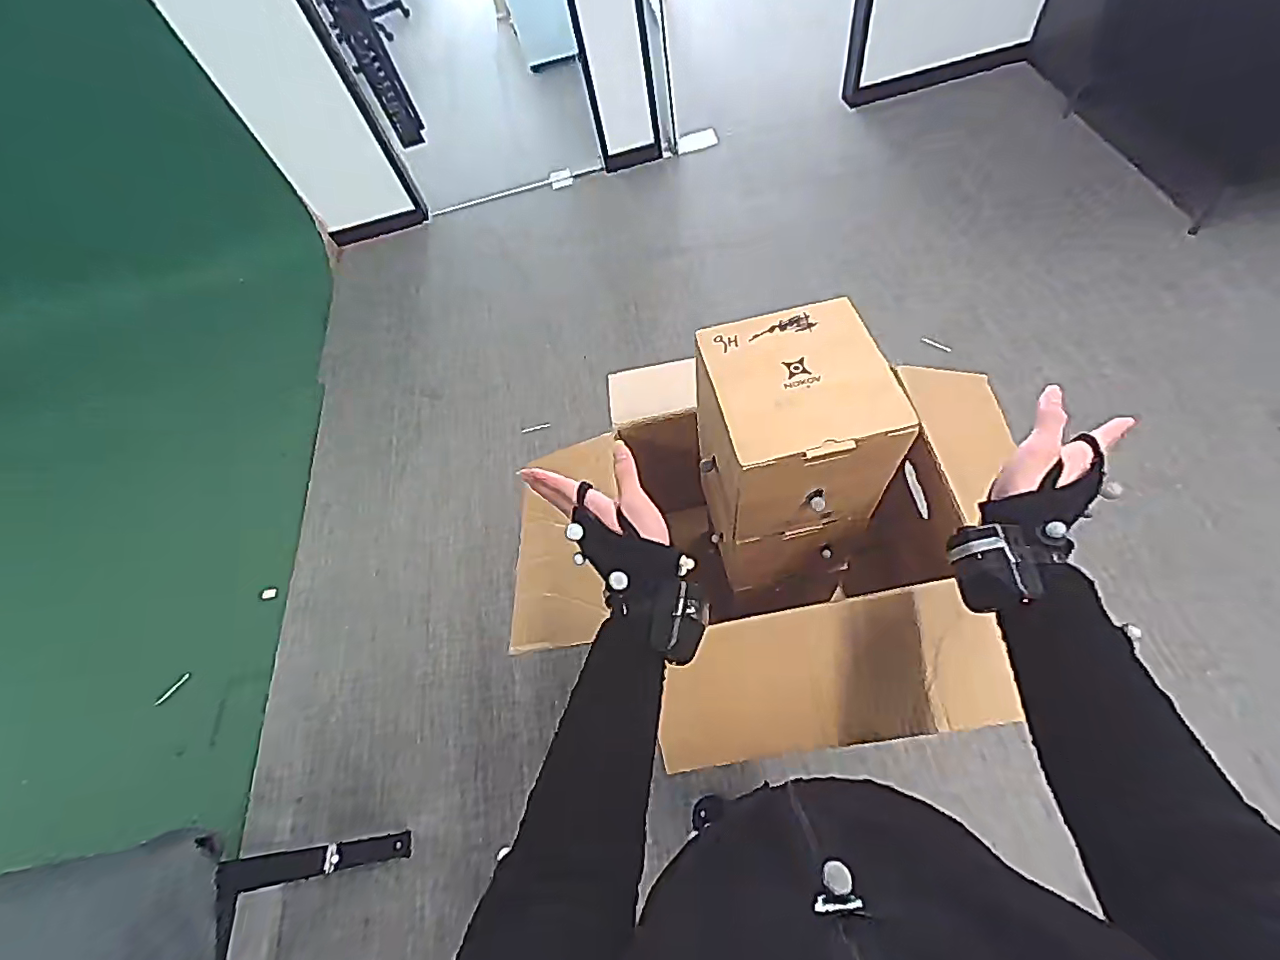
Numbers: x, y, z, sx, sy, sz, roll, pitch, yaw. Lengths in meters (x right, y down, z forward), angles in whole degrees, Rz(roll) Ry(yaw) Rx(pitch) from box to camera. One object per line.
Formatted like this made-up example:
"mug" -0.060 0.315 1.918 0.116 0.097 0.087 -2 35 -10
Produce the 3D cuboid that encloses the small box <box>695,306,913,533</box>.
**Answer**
"small box" 0.160 -0.054 0.593 0.168 0.176 0.179 -12 61 0
